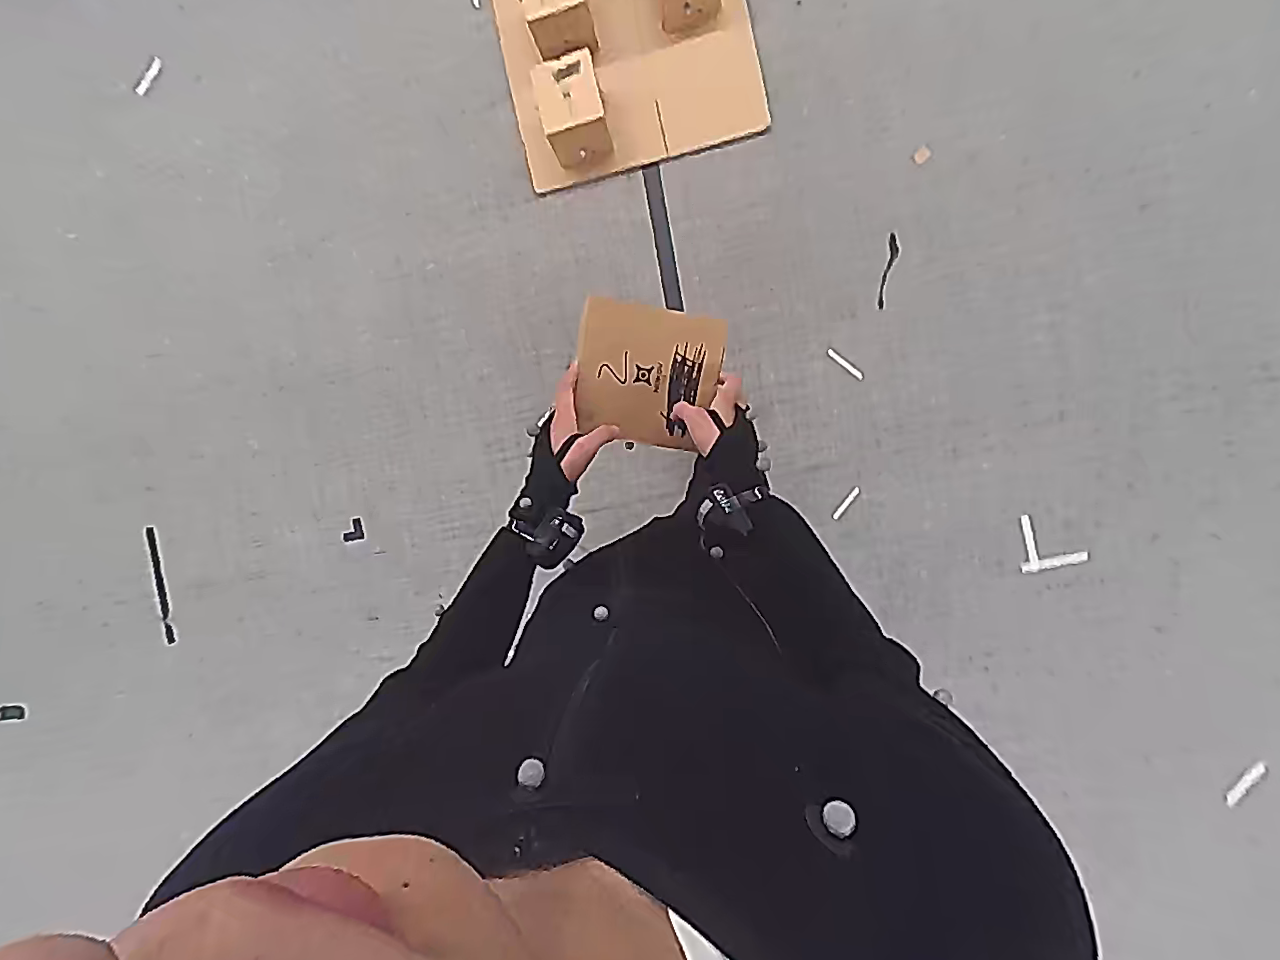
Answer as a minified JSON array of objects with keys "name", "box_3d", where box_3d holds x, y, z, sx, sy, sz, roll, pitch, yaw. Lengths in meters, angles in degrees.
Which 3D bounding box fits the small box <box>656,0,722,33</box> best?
[{"name":"small box","box_3d":[0.118,-1.349,1.427,0.168,0.176,0.179,-16,92,7]}]

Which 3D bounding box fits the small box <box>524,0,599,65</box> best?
[{"name":"small box","box_3d":[-0.218,-1.282,1.463,0.168,0.176,0.179,-12,92,8]}]

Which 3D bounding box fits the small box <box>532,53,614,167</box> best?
[{"name":"small box","box_3d":[-0.176,-1.000,1.475,0.168,0.176,0.179,-13,93,8]}]
